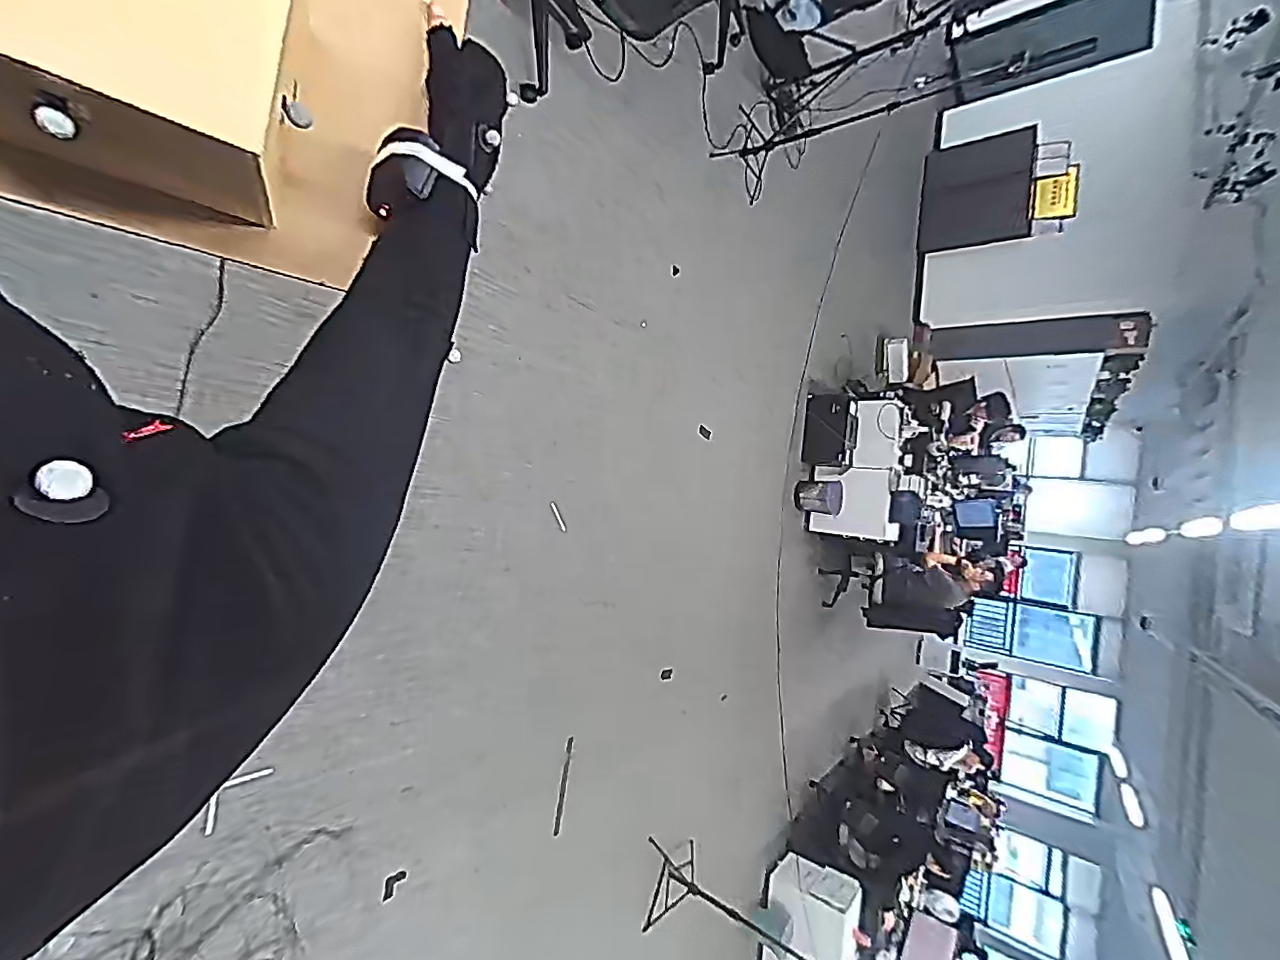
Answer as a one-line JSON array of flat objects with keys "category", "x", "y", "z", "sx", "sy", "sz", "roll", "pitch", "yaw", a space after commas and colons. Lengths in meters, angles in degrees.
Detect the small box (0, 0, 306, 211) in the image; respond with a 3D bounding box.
[{"category": "small box", "x": -0.319, "y": -0.291, "z": 0.332, "sx": 0.179, "sy": 0.176, "sz": 0.168, "roll": 11, "pitch": 93, "yaw": -31}]
